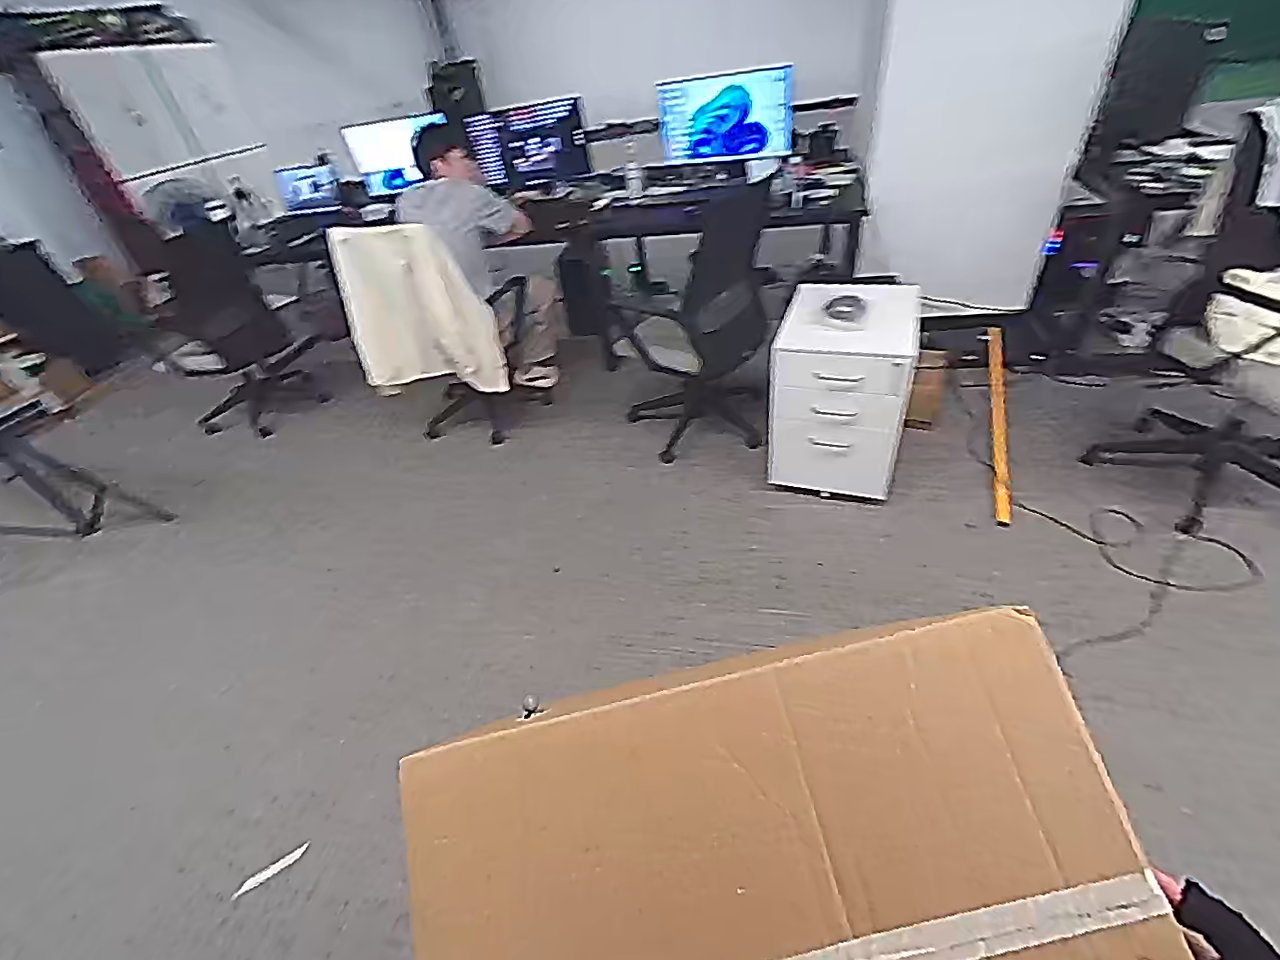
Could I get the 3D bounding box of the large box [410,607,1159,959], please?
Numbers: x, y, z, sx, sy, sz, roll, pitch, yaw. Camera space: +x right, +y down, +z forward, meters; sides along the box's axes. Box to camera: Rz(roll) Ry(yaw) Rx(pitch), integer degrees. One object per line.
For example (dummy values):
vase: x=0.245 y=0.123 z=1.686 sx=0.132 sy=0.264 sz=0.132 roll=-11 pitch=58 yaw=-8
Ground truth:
large box: x=0.088 y=0.320 z=0.444 sx=0.408 sy=0.320 sz=0.320 roll=-15 pitch=73 yaw=-1
